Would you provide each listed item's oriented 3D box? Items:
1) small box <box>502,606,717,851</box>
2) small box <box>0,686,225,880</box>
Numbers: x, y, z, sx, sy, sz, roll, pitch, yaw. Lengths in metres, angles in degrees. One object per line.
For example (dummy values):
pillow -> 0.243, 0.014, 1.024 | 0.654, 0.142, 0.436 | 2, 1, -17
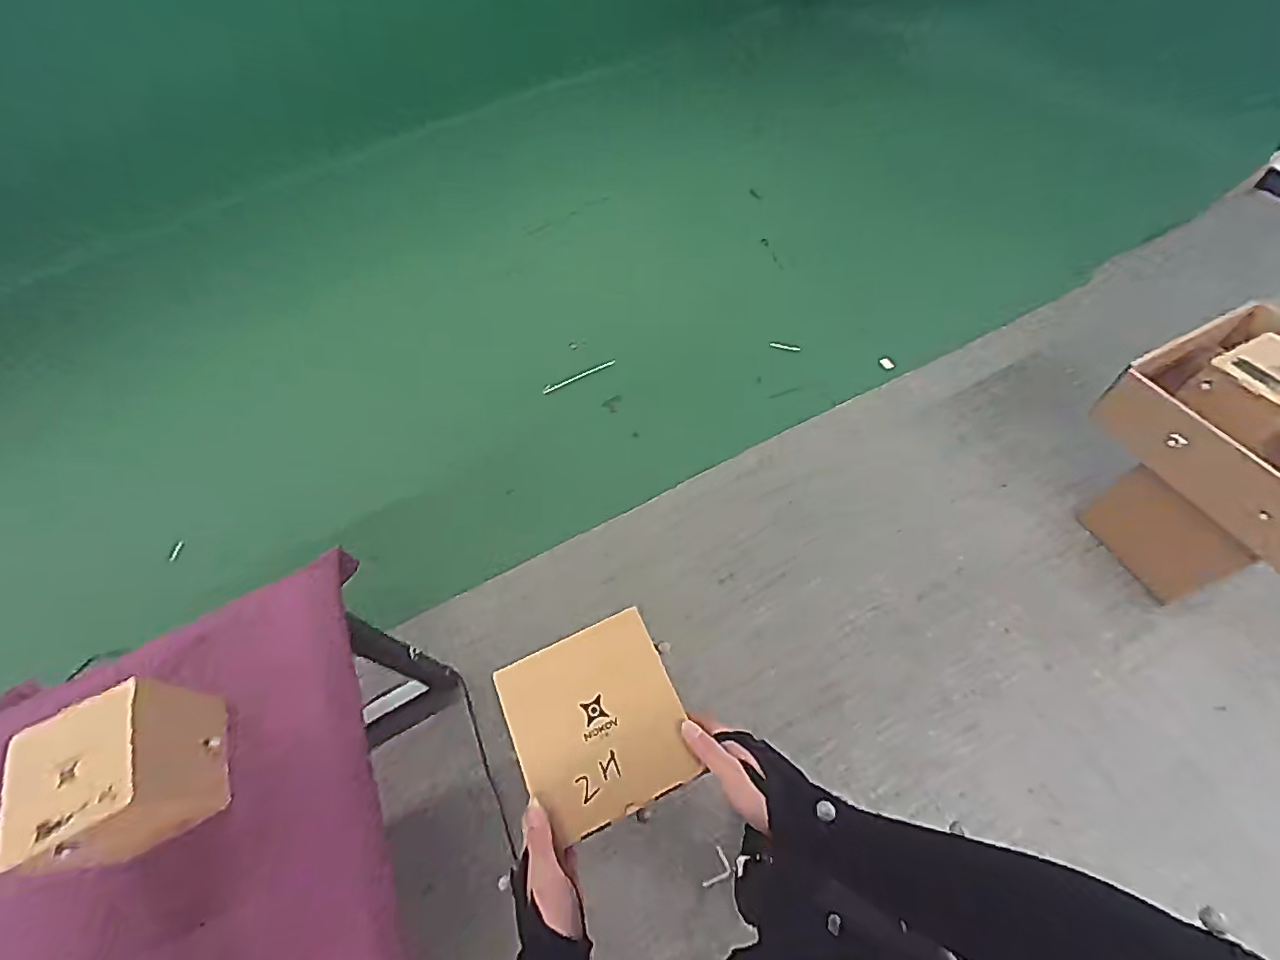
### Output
small box -> -0.032, 0.269, 0.596 | 0.168, 0.176, 0.179 | -23, 63, -8
small box -> -0.725, 0.424, 0.759 | 0.168, 0.176, 0.179 | -27, 58, -8
